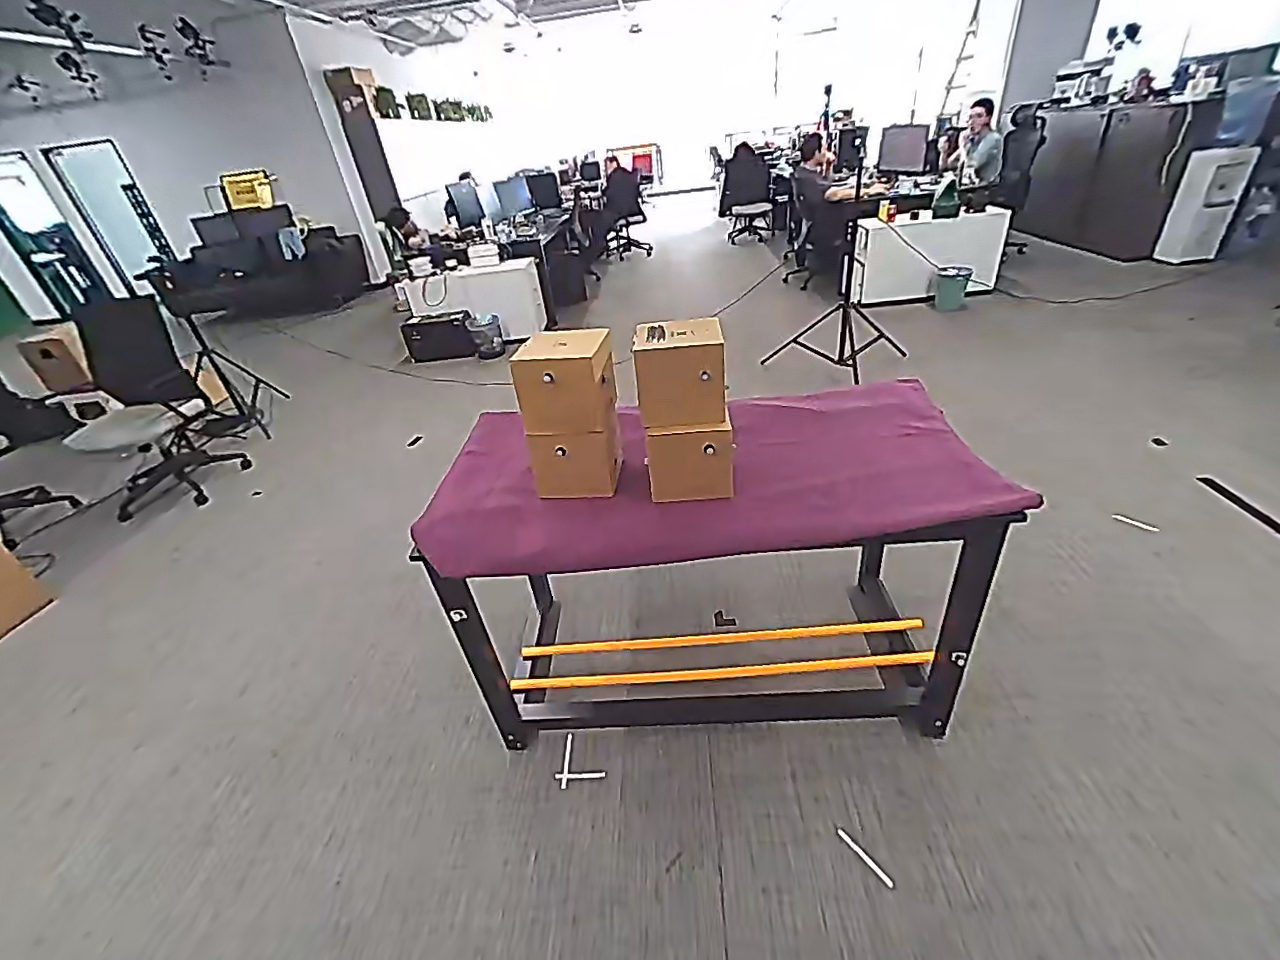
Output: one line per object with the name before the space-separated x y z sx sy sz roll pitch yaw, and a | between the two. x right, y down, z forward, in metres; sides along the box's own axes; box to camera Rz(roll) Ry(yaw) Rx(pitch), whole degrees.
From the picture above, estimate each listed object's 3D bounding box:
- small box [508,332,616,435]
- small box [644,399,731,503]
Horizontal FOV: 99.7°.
small box | -0.155 -0.207 1.162 0.179 0.176 0.168 0 33 12
small box | 0.106 -0.064 1.190 0.179 0.176 0.168 -4 32 5
